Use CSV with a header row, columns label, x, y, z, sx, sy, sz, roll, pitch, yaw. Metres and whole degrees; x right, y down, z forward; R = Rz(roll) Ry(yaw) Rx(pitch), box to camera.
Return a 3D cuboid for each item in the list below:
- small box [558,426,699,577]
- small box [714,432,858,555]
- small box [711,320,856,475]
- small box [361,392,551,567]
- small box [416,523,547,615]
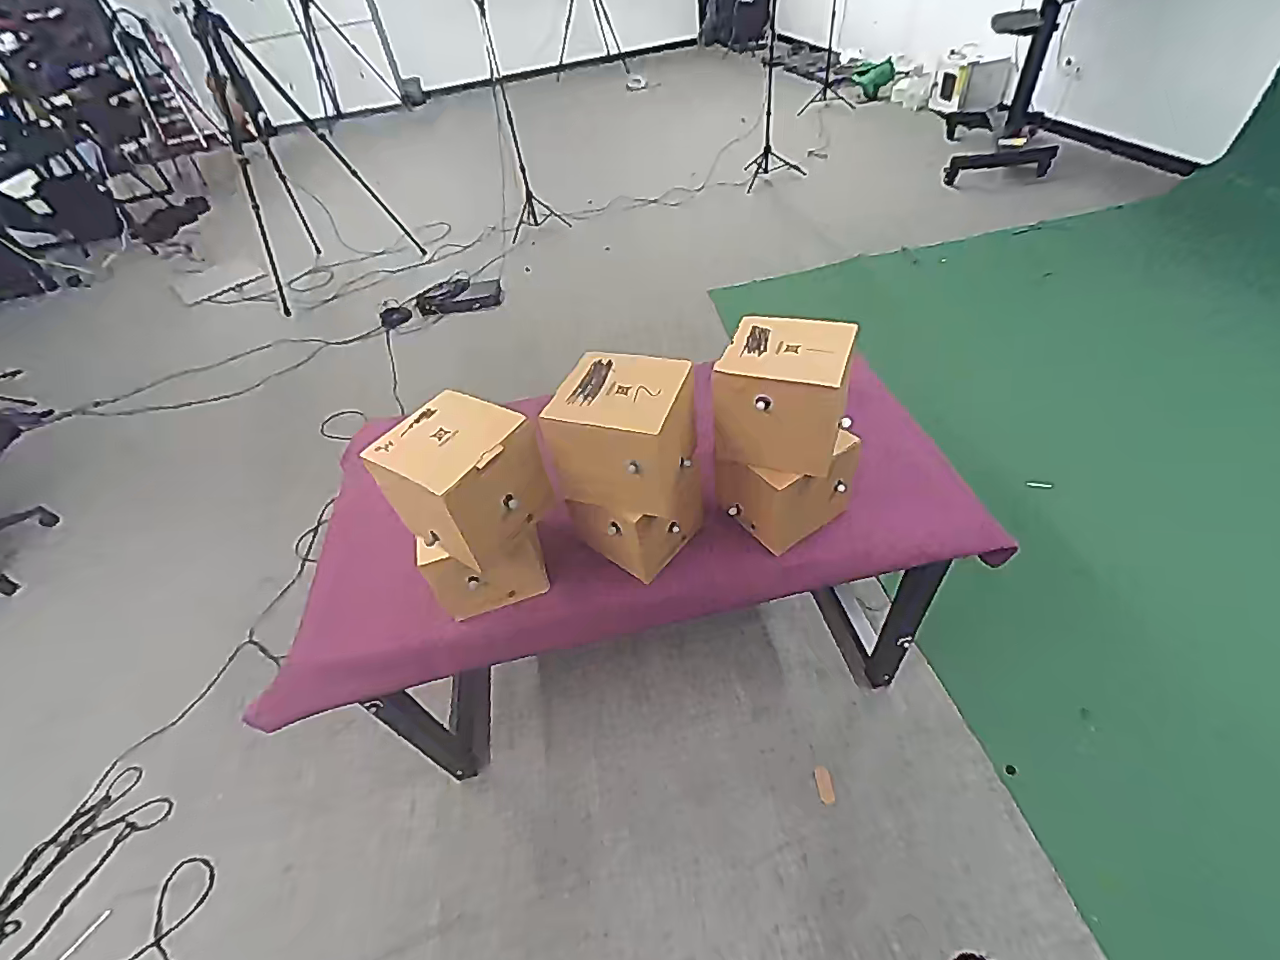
label,x,y,z,sx,sy,sz,roll,pitch,yaw
small box,-0.011,0.042,0.939,0.179,0.176,0.168,29,56,32
small box,0.246,-0.005,0.944,0.179,0.176,0.168,-29,47,-18
small box,0.220,-0.128,0.838,0.179,0.176,0.168,13,48,22
small box,-0.256,0.002,0.792,0.179,0.176,0.168,22,52,27
small box,-0.267,0.107,0.922,0.168,0.176,0.179,-18,45,-8
